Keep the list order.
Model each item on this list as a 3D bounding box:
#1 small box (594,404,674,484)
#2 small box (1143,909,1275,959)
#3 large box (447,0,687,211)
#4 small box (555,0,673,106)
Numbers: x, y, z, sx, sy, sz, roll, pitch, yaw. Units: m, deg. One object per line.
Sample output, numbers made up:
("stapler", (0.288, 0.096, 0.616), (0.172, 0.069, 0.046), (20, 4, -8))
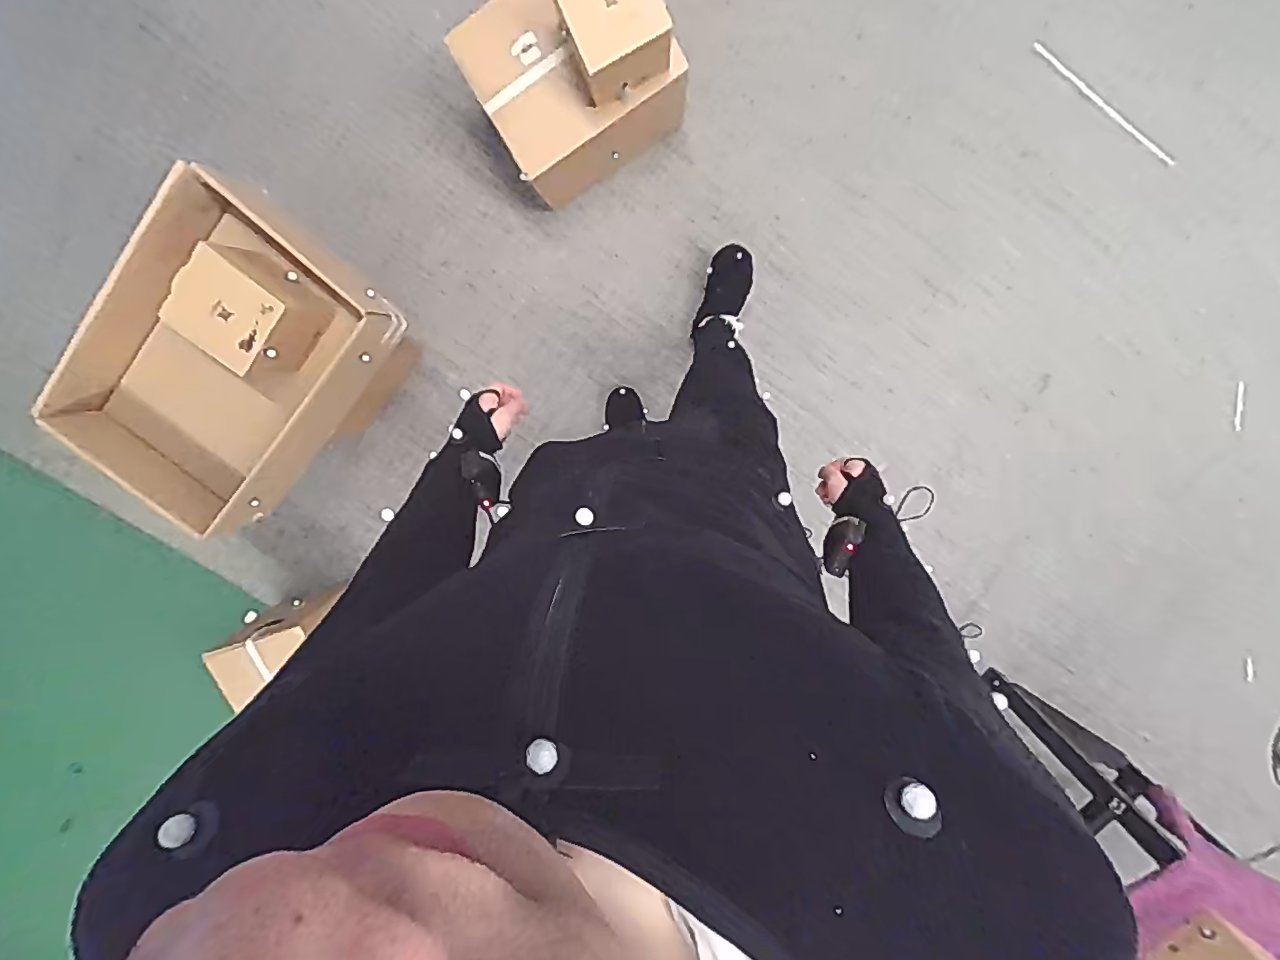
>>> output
("small box", (-0.017, -0.107, 1.536), (0.179, 0.176, 0.168), (30, 101, 2))
("small box", (1.130, 0.966, 1.022), (0.179, 0.176, 0.168), (36, 103, -10))
("large box", (-0.143, -0.896, 1.236), (0.408, 0.320, 0.320), (-30, 102, 10))
("small box", (-0.051, -0.842, 0.994), (0.168, 0.176, 0.179), (-24, 105, 8))
